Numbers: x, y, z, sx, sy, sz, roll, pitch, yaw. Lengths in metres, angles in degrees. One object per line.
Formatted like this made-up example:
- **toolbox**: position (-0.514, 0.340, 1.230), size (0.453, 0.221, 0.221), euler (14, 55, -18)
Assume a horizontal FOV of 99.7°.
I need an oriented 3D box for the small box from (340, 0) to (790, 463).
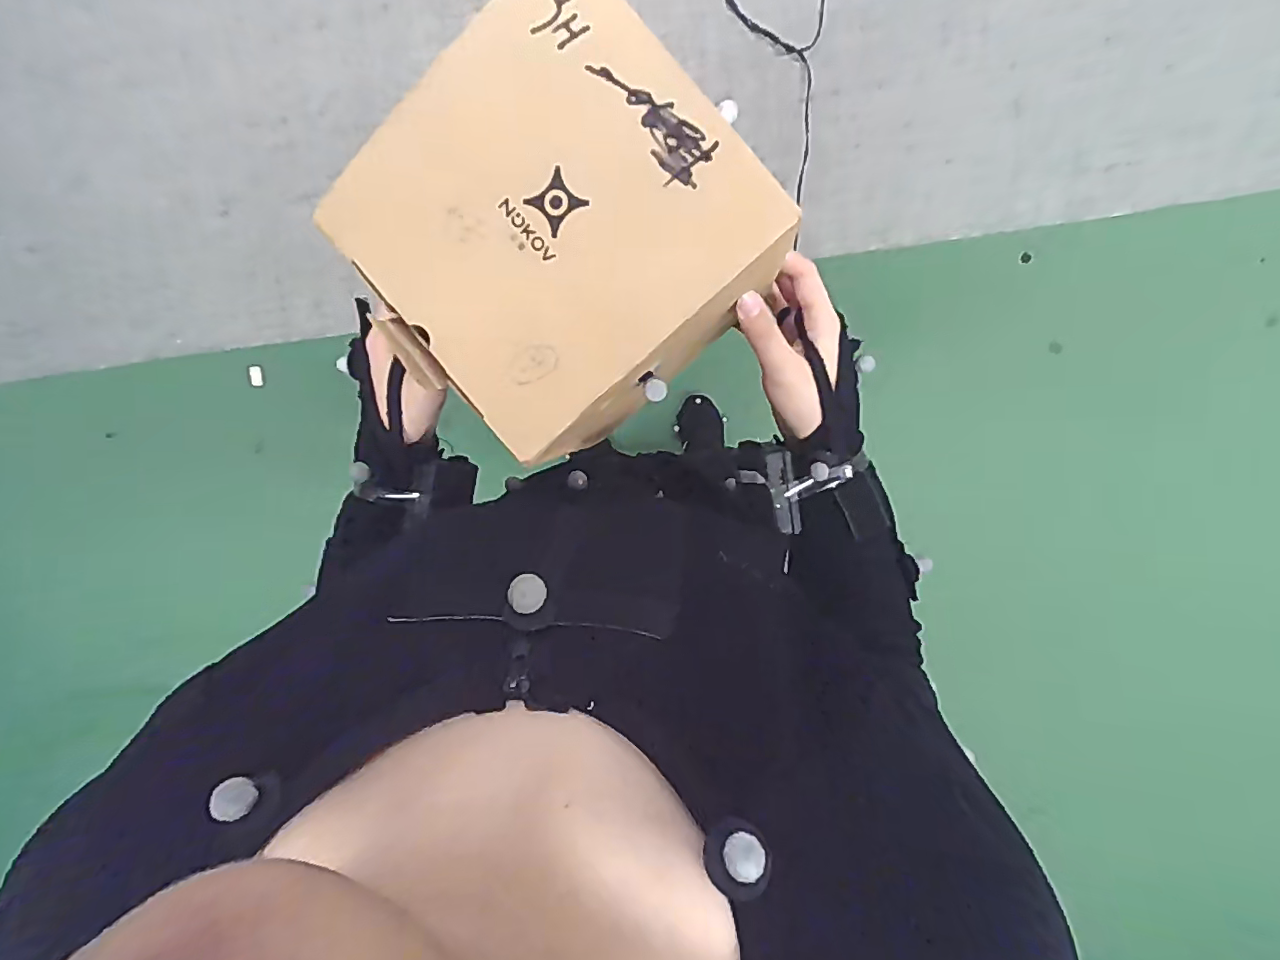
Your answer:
- **small box**: position (-0.031, -0.132, 0.345), size (0.179, 0.176, 0.168), euler (-41, 91, 11)
